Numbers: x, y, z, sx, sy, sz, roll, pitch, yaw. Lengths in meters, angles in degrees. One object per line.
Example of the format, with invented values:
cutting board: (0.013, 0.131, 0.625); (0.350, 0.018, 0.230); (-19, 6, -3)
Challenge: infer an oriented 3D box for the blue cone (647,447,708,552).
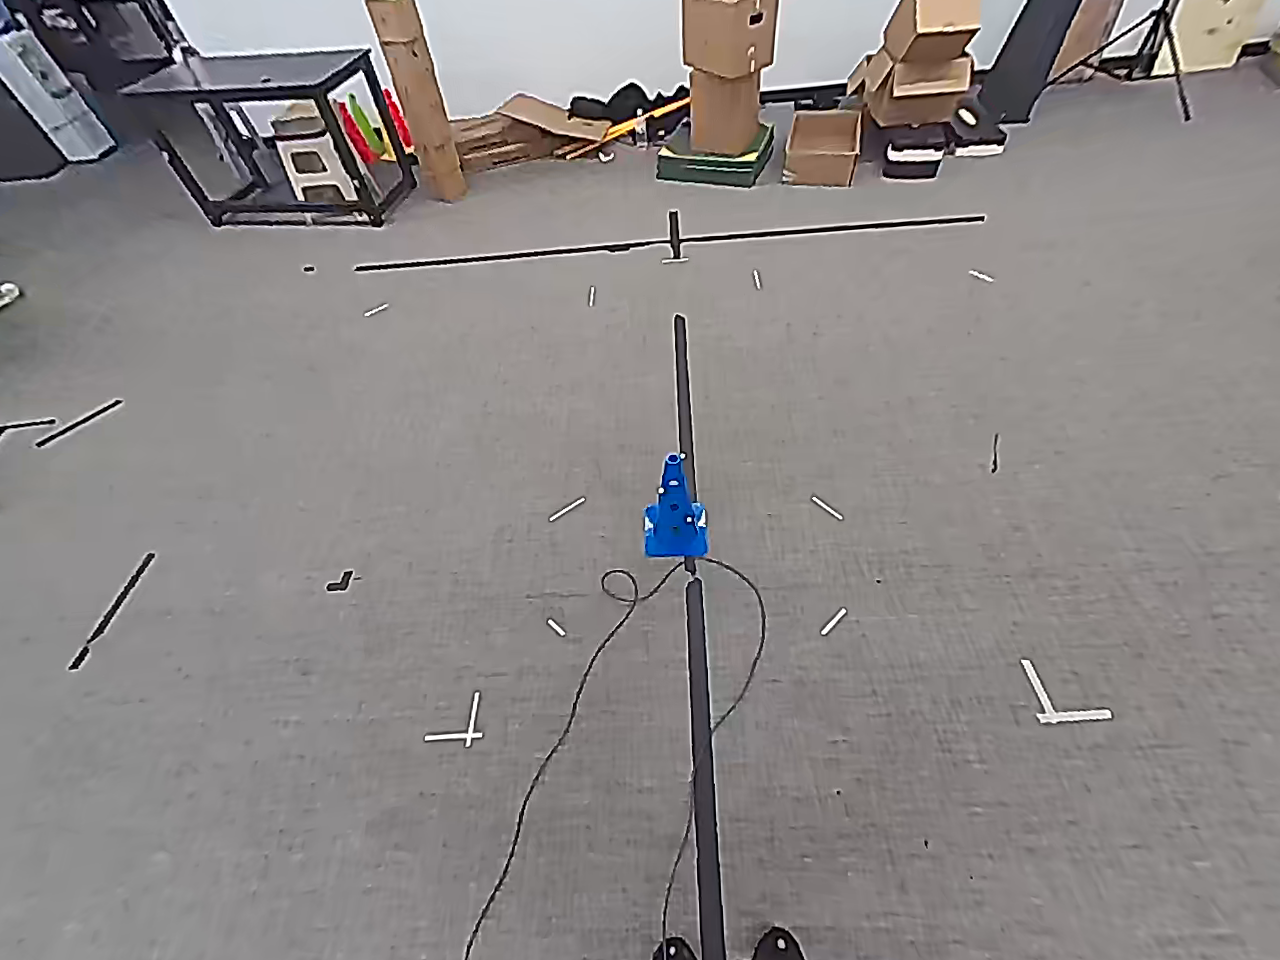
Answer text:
blue cone: (0.104, 0.047, 1.601); (0.193, 0.380, 0.192); (-4, 52, 4)
